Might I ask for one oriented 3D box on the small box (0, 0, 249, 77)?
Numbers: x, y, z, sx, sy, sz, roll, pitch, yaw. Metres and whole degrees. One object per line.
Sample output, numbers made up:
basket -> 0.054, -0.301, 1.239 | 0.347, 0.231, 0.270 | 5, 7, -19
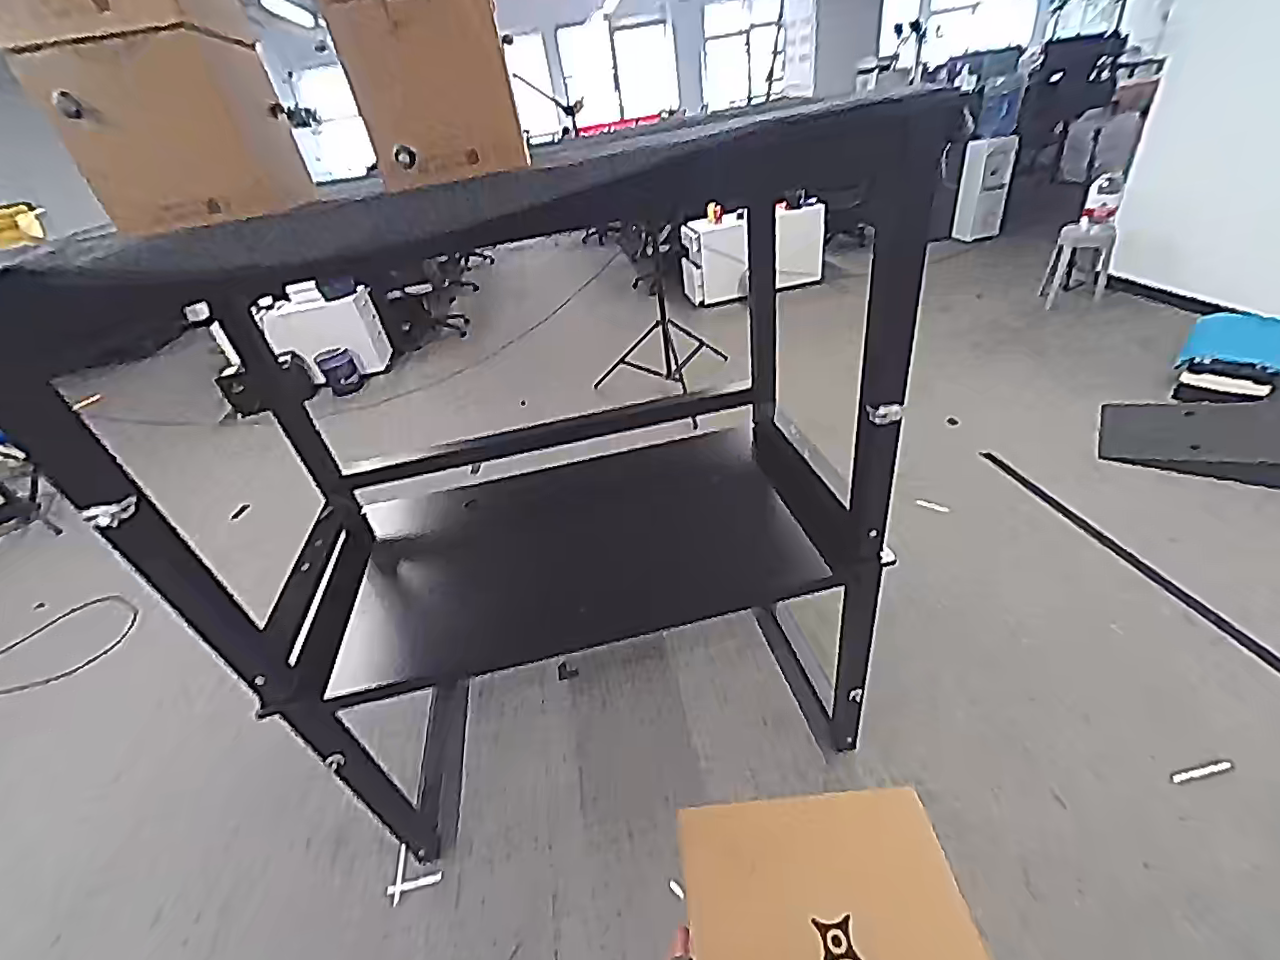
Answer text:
small box -> -0.534, -0.518, 0.530 | 0.168, 0.176, 0.179 | -13, 33, -4

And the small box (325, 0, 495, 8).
small box -> -0.255, -0.586, 0.556 | 0.168, 0.176, 0.179 | -13, 34, -3

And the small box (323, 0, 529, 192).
small box -> -0.232, -0.451, 0.643 | 0.168, 0.176, 0.179 | -12, 33, -4

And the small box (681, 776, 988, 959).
small box -> 0.117, 0.328, 0.359 | 0.168, 0.176, 0.179 | -6, 38, 1
